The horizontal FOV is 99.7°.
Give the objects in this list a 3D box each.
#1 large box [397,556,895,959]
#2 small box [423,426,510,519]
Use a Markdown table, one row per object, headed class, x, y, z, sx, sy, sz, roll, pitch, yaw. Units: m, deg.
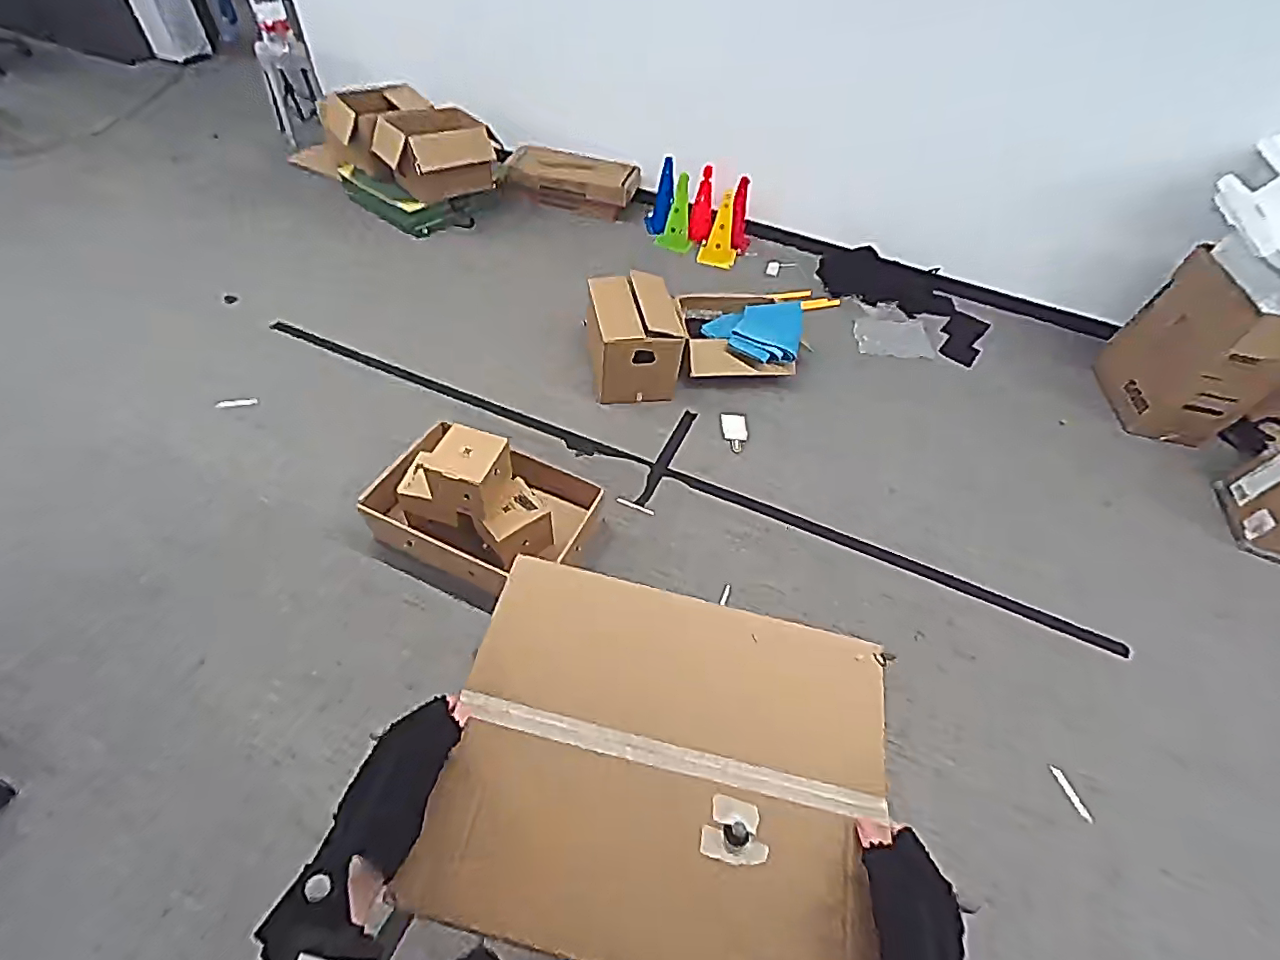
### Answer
| class | x | y | z | sx | sy | sz | roll | pitch | yaw |
| --- | --- | --- | --- | --- | --- | --- | --- | --- | --- |
| large box | 0.015 | 0.326 | 0.619 | 0.408 | 0.320 | 0.320 | 13 | 57 | 2 |
| small box | -0.475 | -0.017 | 1.515 | 0.168 | 0.176 | 0.179 | 17 | 50 | 5 |
